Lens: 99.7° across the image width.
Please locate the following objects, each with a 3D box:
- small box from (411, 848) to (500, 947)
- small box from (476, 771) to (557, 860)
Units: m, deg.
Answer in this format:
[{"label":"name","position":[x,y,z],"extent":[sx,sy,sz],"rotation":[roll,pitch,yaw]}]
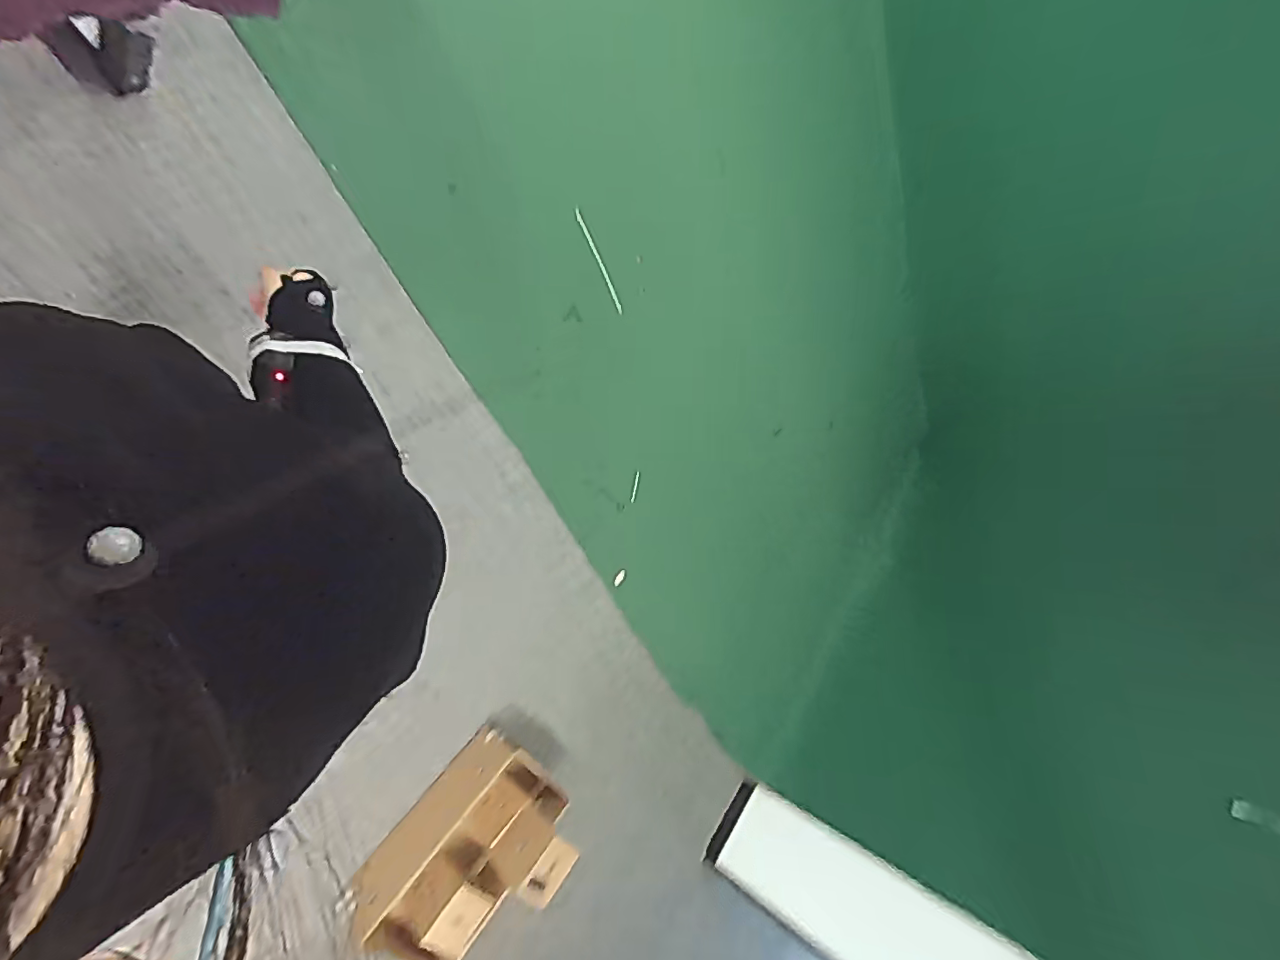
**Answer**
[{"label":"small box","position":[-0.584,1.305,1.701],"extent":[0.168,0.176,0.179],"rotation":[-48,128,-26]},{"label":"small box","position":[-0.421,1.123,1.826],"extent":[0.168,0.176,0.179],"rotation":[-44,126,-28]}]
